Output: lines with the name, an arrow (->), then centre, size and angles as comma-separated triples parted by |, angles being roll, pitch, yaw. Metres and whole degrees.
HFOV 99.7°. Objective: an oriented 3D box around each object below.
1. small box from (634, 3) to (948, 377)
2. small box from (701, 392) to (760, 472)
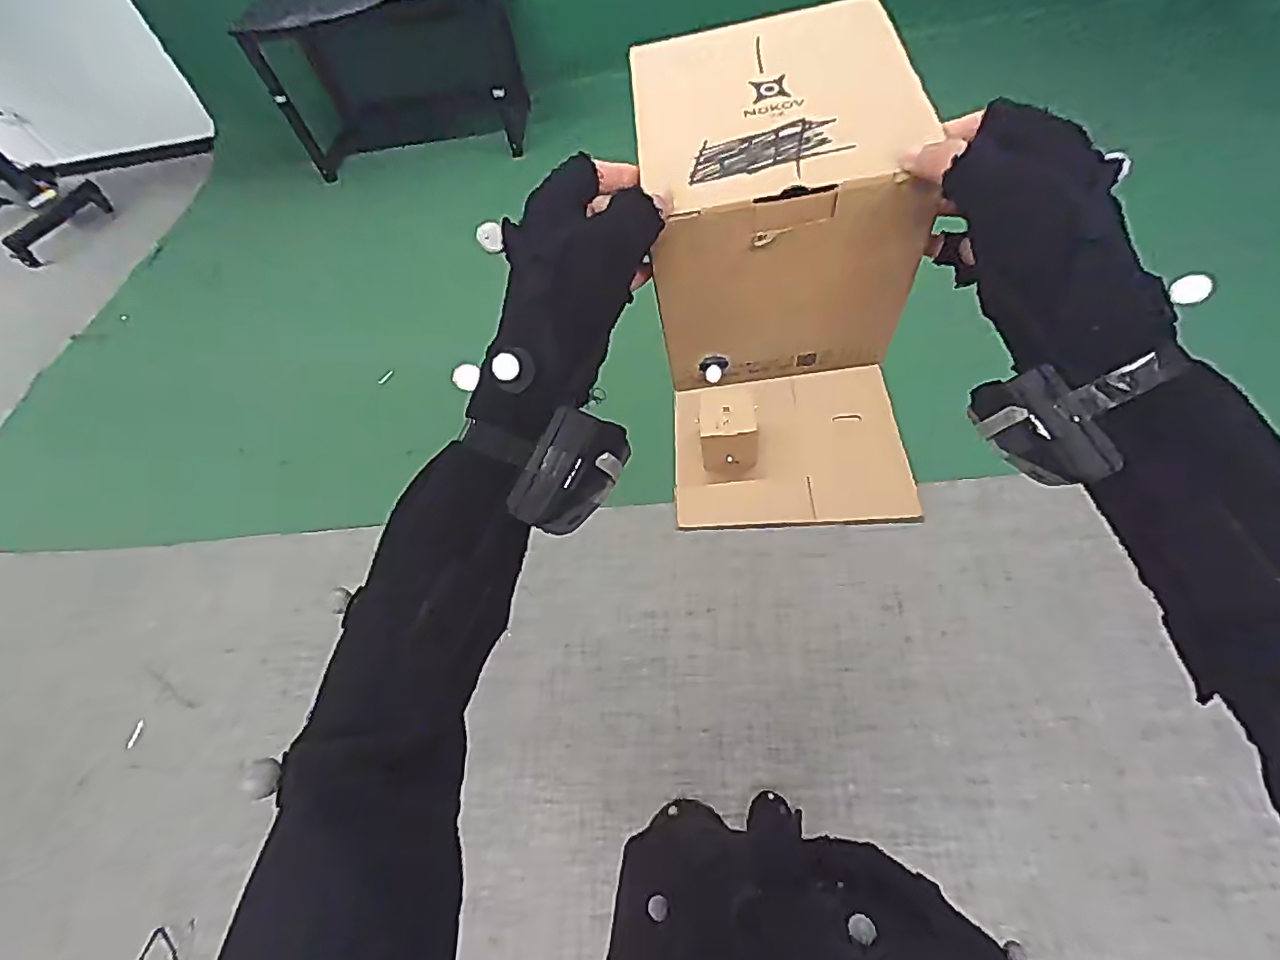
small box -> 0.093, -0.192, 0.400 | 0.168, 0.176, 0.179 | -7, 63, 8
small box -> 0.276, -0.147, 1.671 | 0.168, 0.176, 0.179 | -5, 56, 8
